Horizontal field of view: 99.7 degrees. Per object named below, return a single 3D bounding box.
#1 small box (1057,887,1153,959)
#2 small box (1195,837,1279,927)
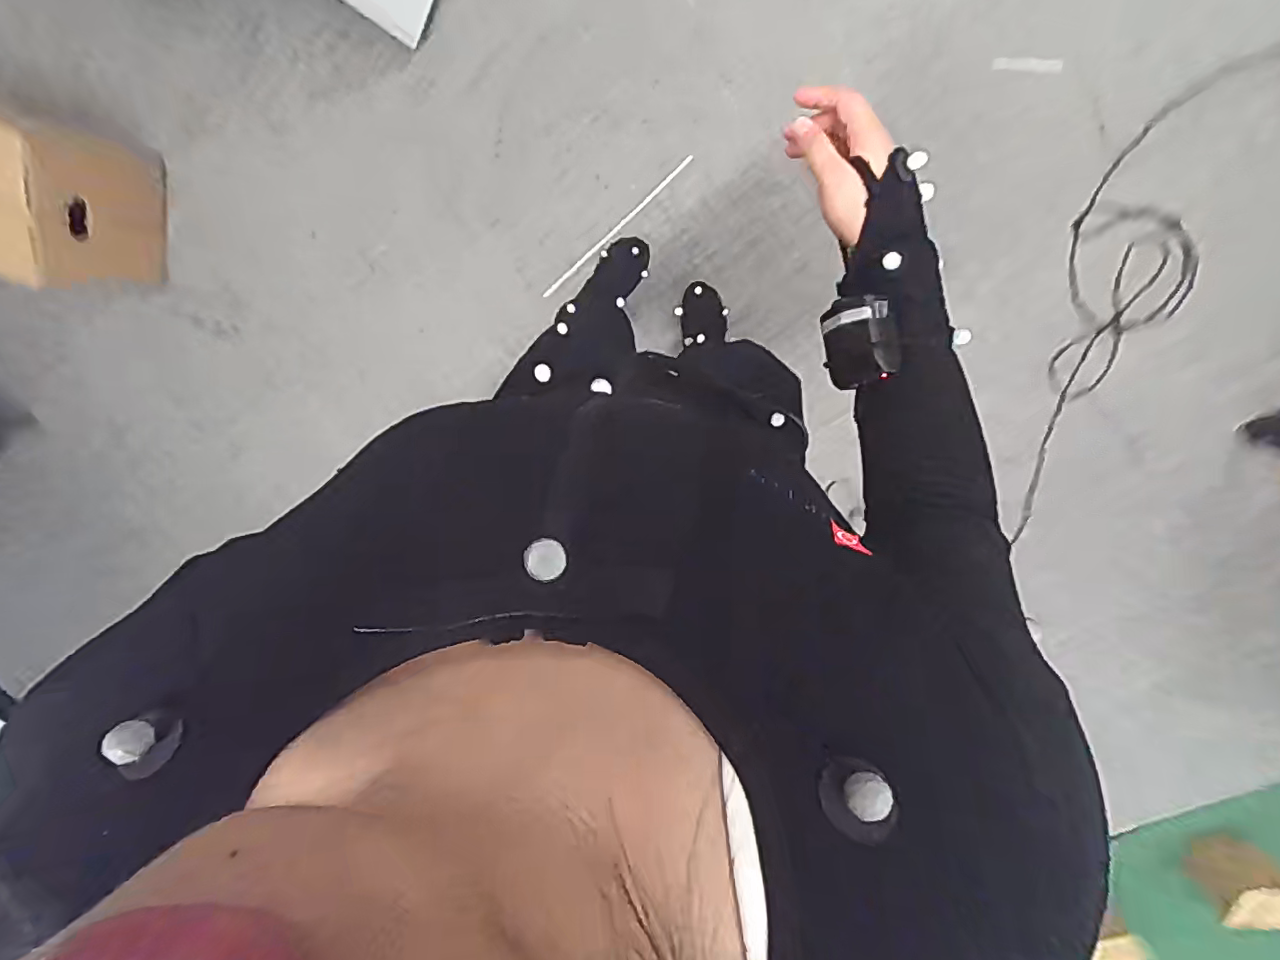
[{"bbox_3d":[1.602,1.551,1.868,0.179,0.176,0.168,-27,105,17],"label":"small box"},{"bbox_3d":[1.936,1.273,1.718,0.168,0.176,0.179,-3,110,8],"label":"small box"}]
